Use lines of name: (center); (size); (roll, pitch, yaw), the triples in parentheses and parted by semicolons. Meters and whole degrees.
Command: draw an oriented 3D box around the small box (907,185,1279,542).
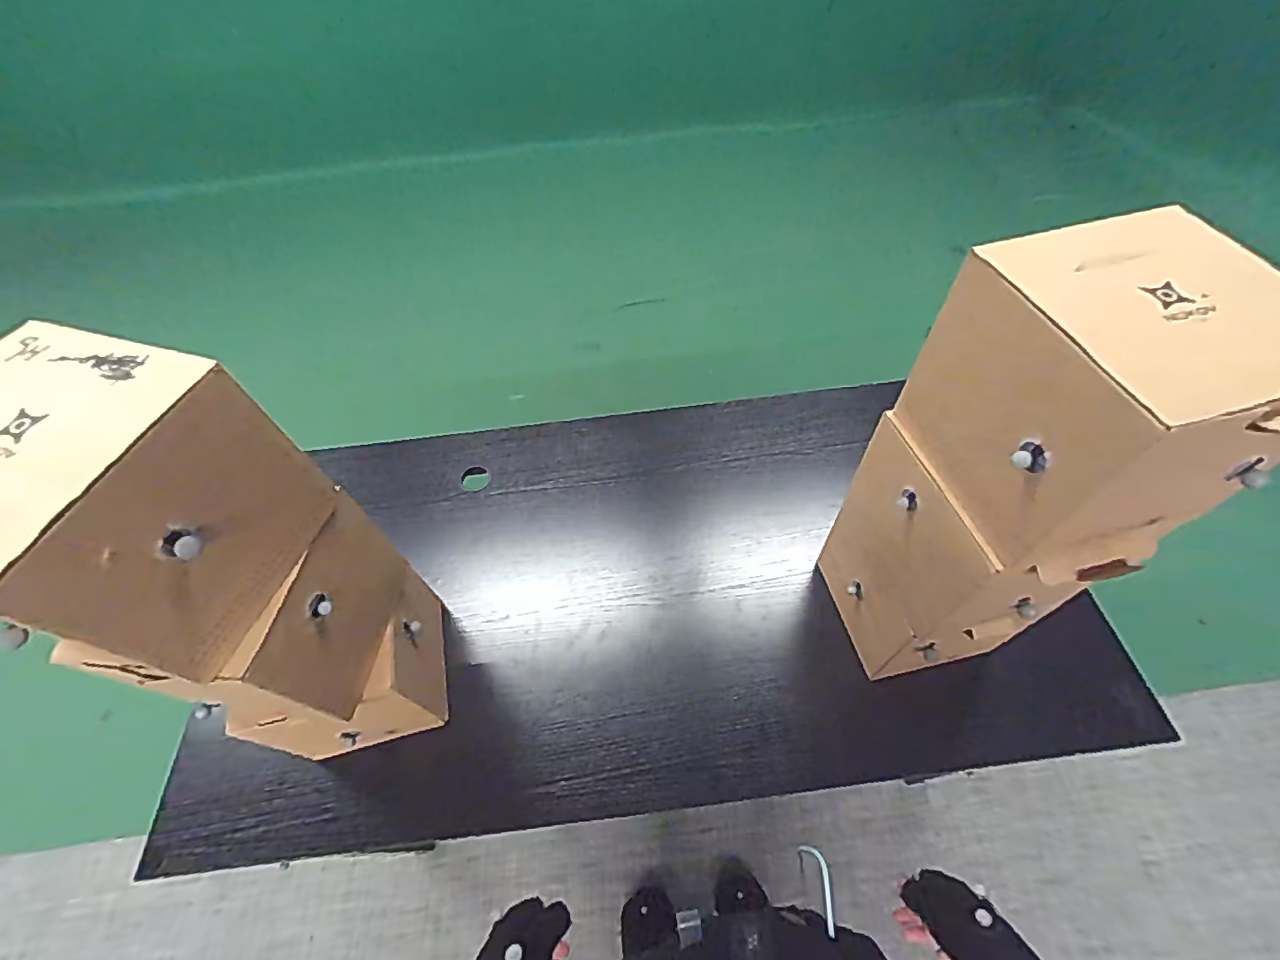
small box: (0.330, -0.072, 0.387); (0.168, 0.176, 0.179); (-14, 55, -5)

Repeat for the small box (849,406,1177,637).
small box: (0.334, 0.030, 0.535); (0.168, 0.176, 0.179); (-14, 56, -5)

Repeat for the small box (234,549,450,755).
small box: (-0.344, 0.213, 0.659); (0.168, 0.176, 0.179); (-14, 57, -6)

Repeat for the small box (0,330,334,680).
small box: (-0.367, 0.025, 0.390); (0.168, 0.176, 0.179); (13, 59, 11)

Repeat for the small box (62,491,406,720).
small box: (-0.356, 0.122, 0.523); (0.168, 0.176, 0.179); (4, 56, 6)
